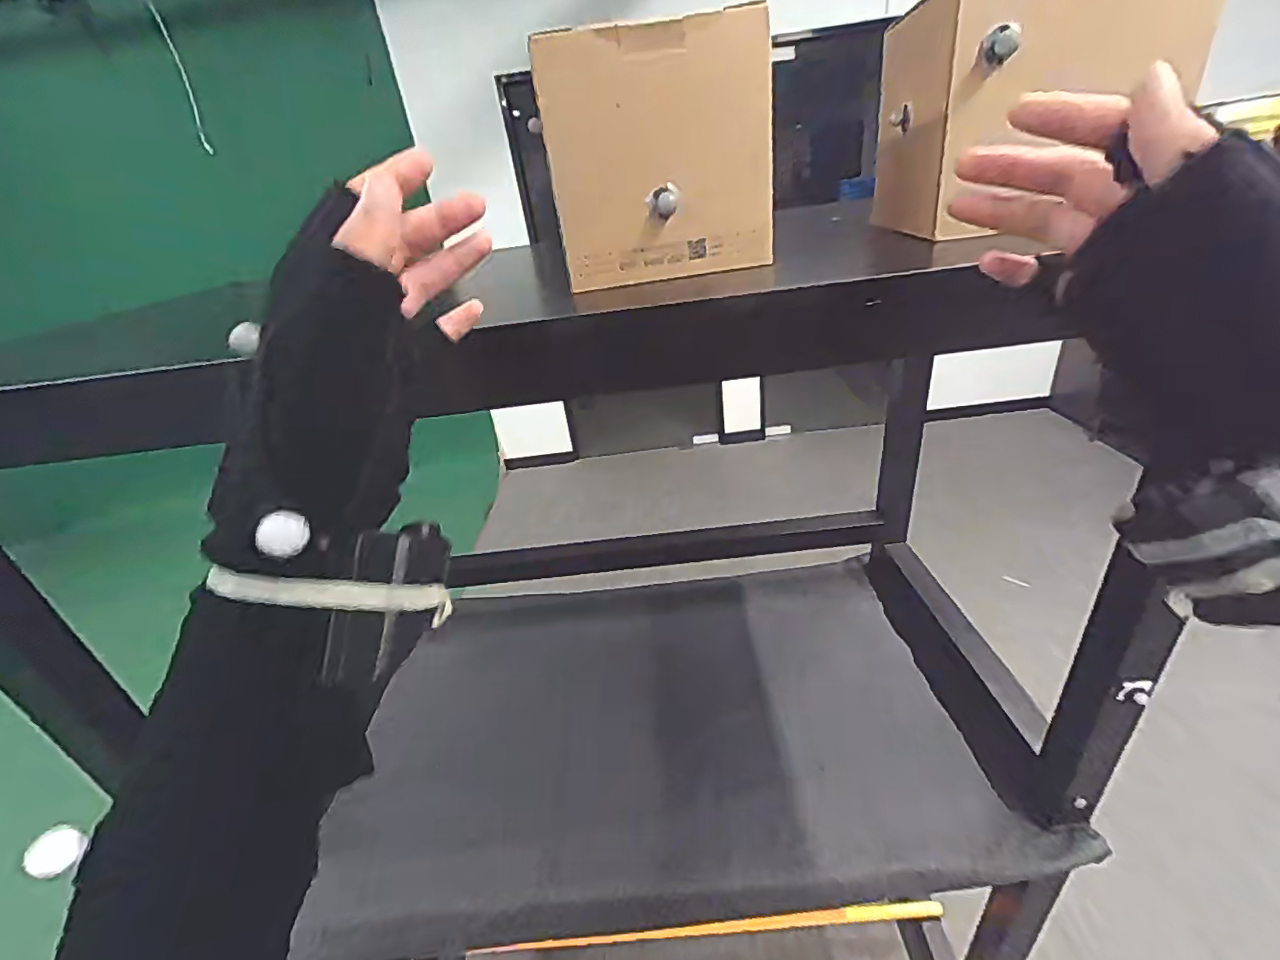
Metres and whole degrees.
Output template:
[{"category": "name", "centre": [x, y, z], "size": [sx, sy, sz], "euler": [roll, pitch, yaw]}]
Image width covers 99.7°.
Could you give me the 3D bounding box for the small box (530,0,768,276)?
[{"category": "small box", "centre": [0.008, -0.284, 0.477], "size": [0.168, 0.176, 0.179], "euler": [-9, 29, -1]}]
